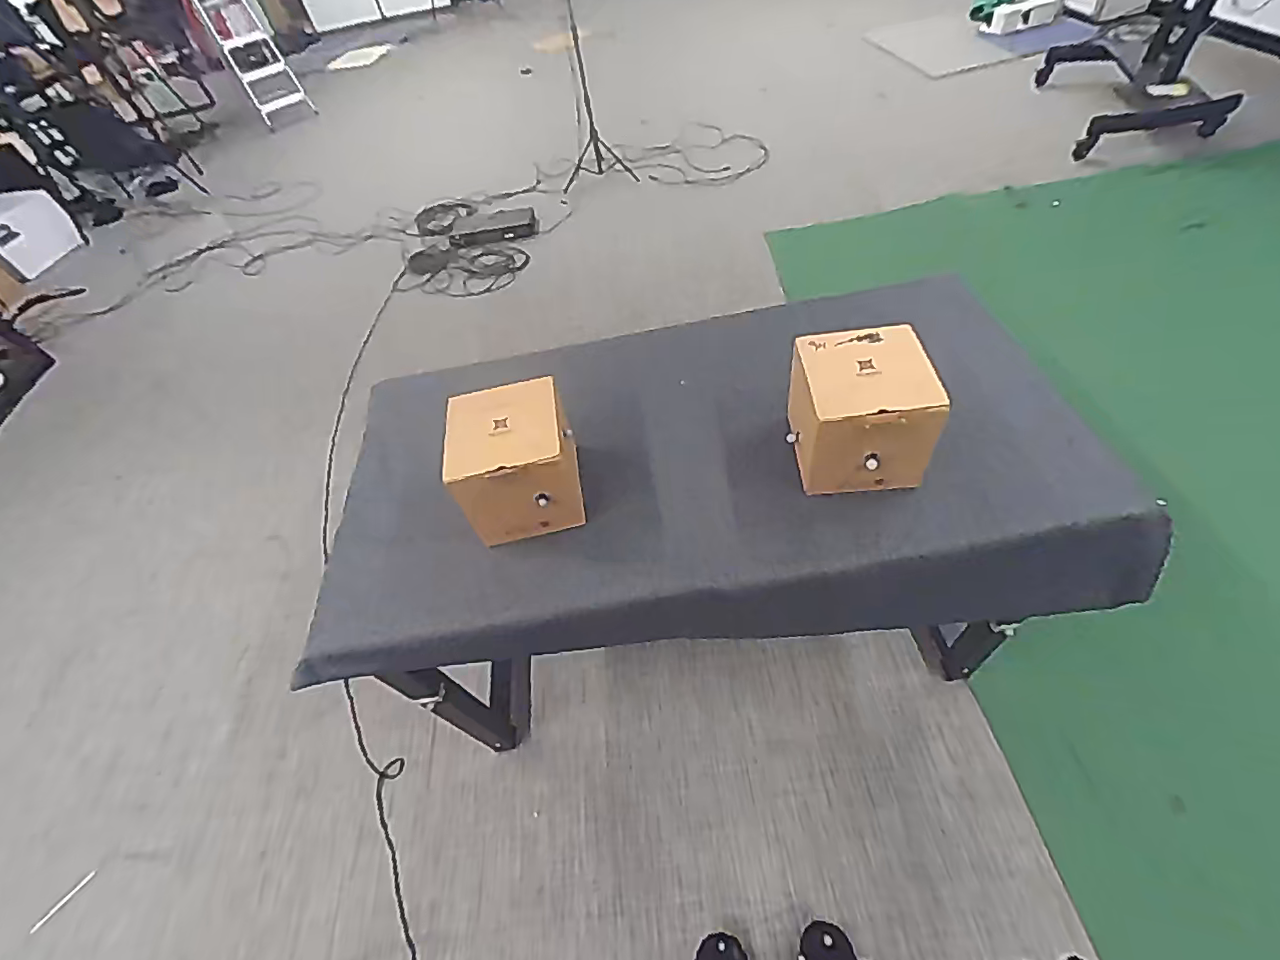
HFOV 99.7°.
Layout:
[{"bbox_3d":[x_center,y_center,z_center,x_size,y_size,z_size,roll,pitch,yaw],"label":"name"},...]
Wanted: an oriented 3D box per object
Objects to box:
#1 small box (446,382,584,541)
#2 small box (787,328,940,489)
[{"bbox_3d":[-0.191,-0.021,0.853,0.168,0.176,0.179,-13,50,-1],"label":"small box"},{"bbox_3d":[0.319,-0.098,0.812,0.168,0.176,0.179,-5,52,7],"label":"small box"}]
